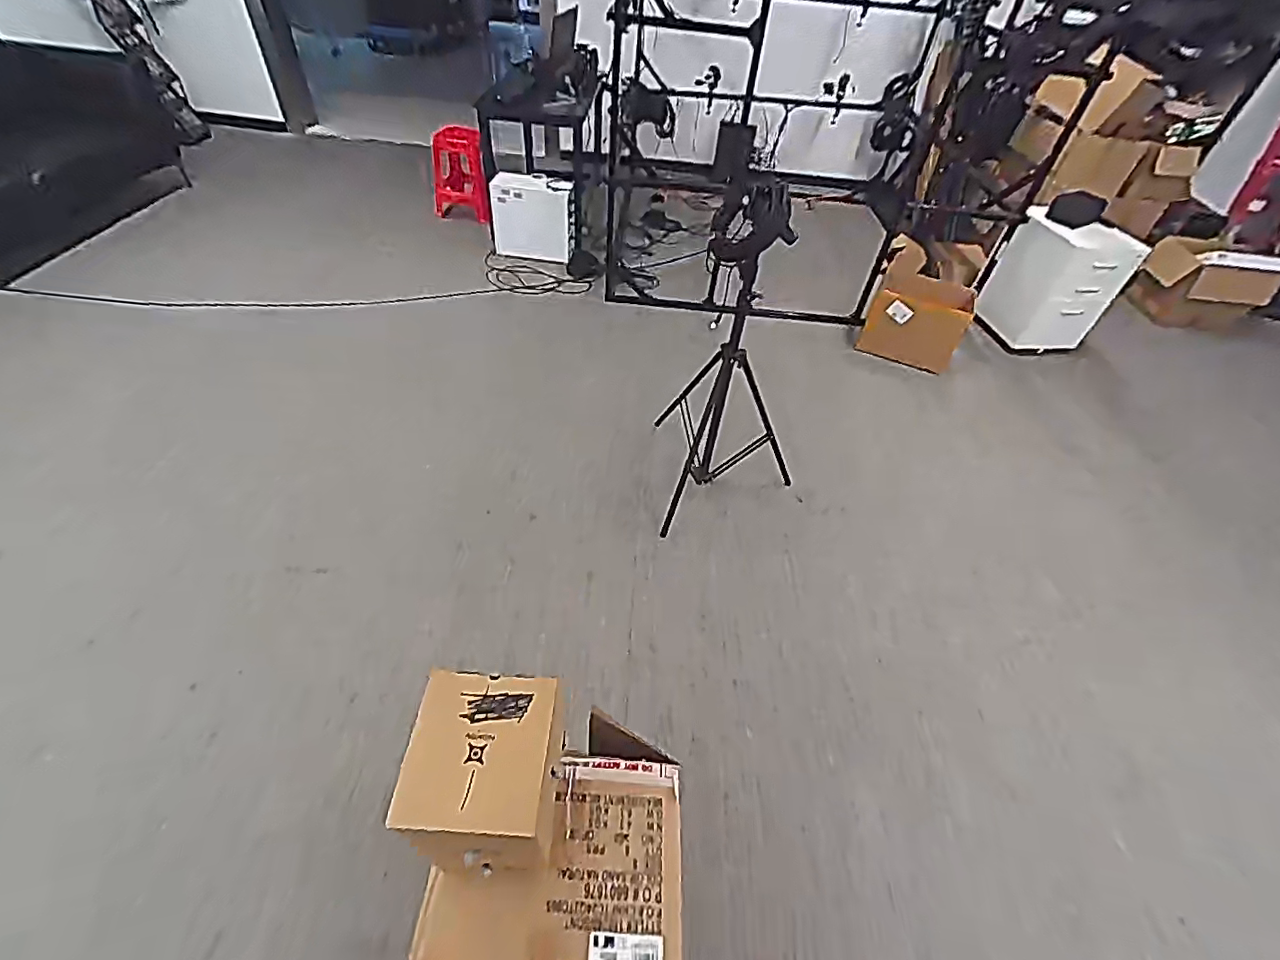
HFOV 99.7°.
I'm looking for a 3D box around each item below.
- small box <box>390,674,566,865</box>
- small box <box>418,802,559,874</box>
[{"bbox_3d":[-0.189,0.372,0.695,0.168,0.176,0.179,4,48,0],"label":"small box"},{"bbox_3d":[-0.213,0.479,0.819,0.168,0.176,0.179,1,48,-2],"label":"small box"}]
